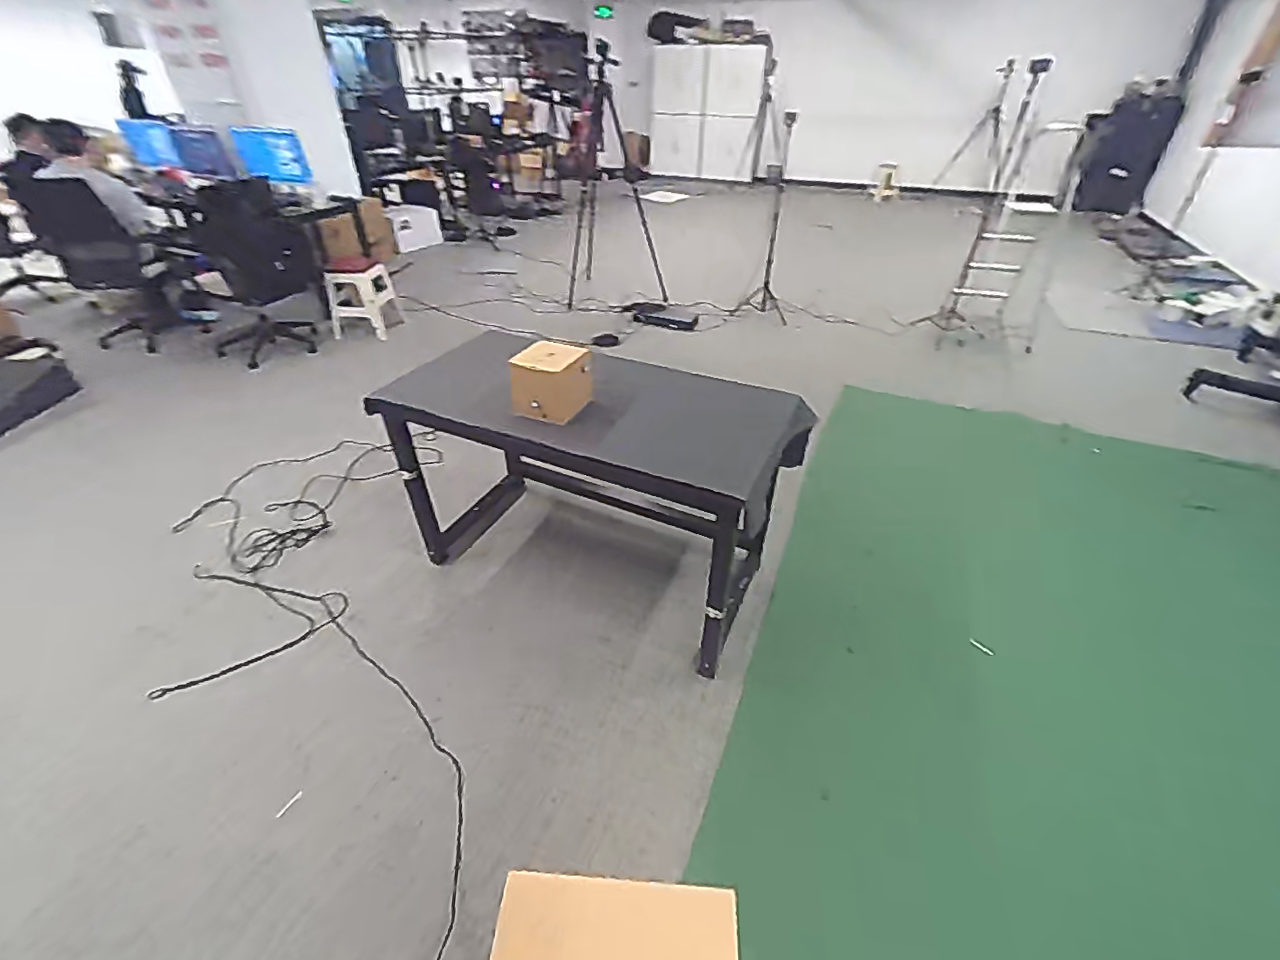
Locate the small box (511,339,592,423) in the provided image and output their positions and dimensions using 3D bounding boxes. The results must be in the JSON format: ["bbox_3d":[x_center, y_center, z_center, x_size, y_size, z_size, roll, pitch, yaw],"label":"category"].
[{"bbox_3d":[-0.250,-0.289,1.570,0.168,0.176,0.179,15,39,20],"label":"small box"}]
